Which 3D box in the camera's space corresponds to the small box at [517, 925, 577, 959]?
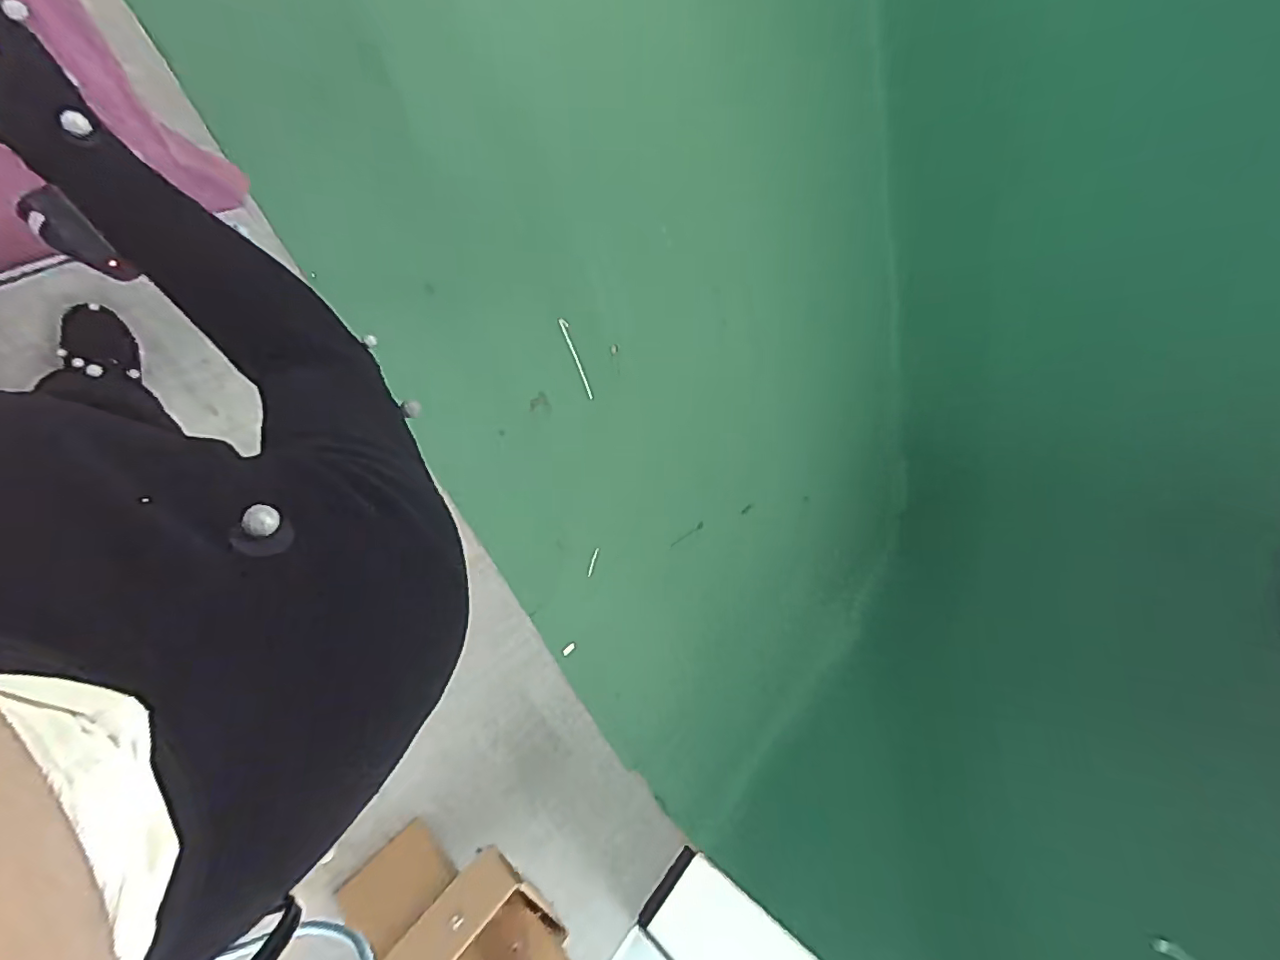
[{"bbox_3d":[-0.266,1.463,1.568,0.179,0.176,0.168,-40,126,-27],"label":"small box"}]
